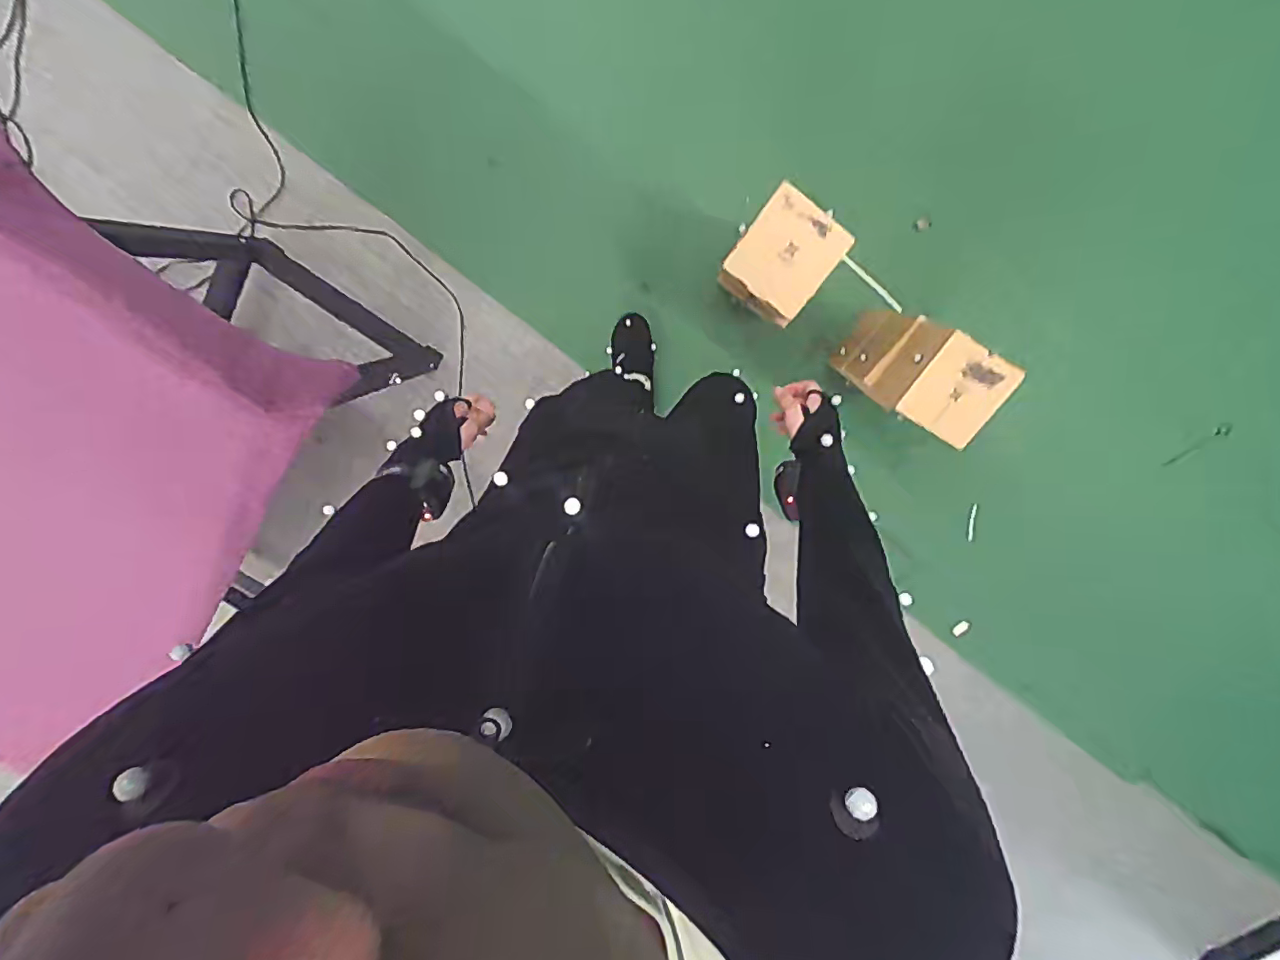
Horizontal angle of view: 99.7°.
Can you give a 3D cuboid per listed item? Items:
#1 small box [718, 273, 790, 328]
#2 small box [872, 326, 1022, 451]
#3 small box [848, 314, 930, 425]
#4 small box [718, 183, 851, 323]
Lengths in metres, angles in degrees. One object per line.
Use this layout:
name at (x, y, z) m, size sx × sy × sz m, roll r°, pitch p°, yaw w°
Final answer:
small box at (0.288, -0.459, 1.201) m, size 0.179 × 0.176 × 0.168 m, roll 35°, pitch 108°, yaw -8°
small box at (0.605, -0.193, 1.095) m, size 0.168 × 0.176 × 0.179 m, roll 30°, pitch 112°, yaw -7°
small box at (0.606, -0.259, 1.245) m, size 0.168 × 0.176 × 0.179 m, roll 35°, pitch 110°, yaw -9°
small box at (0.267, -0.427, 1.040) m, size 0.168 × 0.176 × 0.179 m, roll 36°, pitch 109°, yaw -7°
